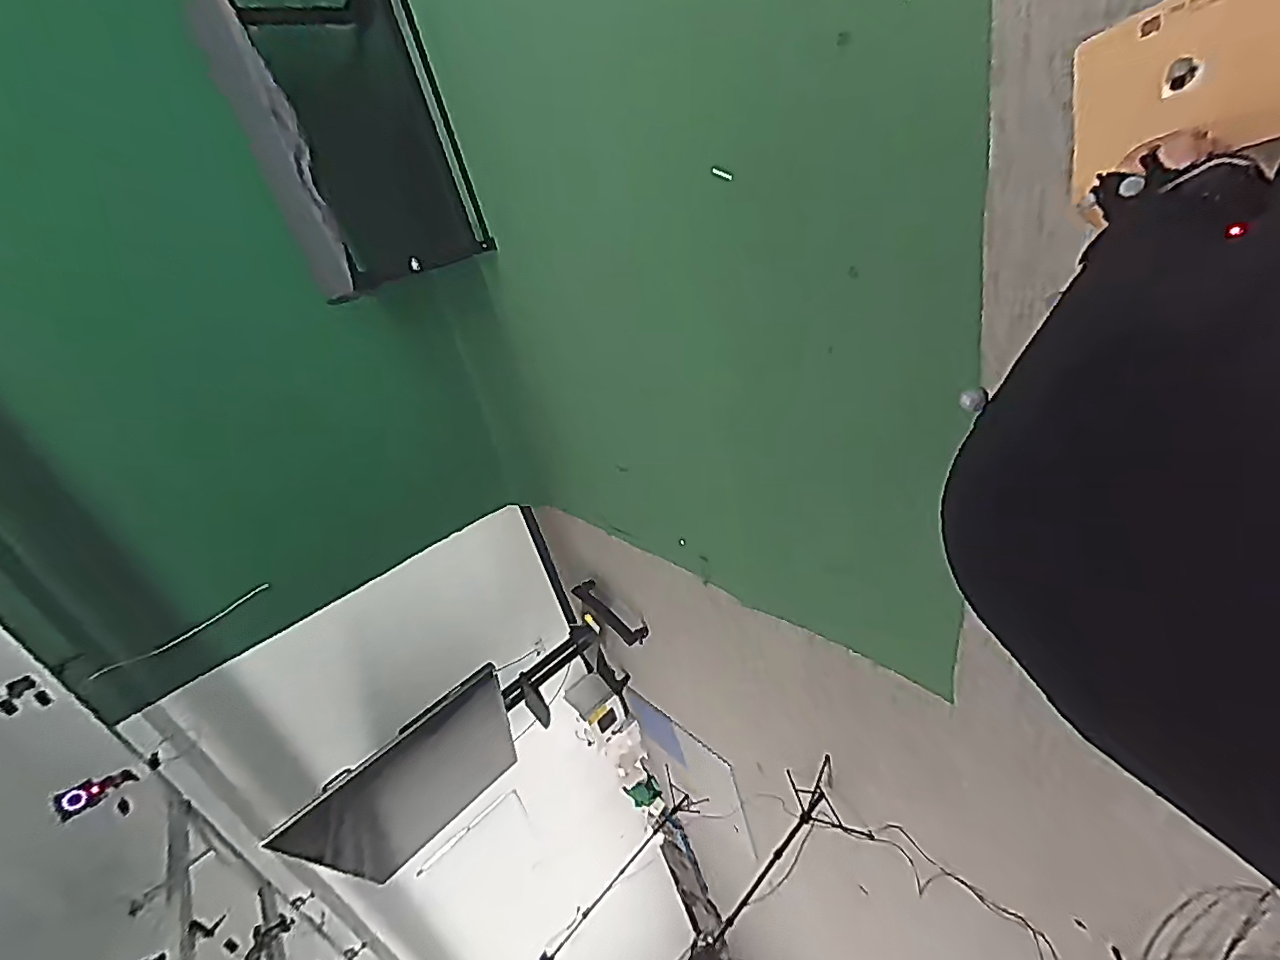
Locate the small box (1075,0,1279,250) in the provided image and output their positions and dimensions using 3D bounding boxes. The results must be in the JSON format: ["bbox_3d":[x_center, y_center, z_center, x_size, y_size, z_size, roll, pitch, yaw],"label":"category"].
[{"bbox_3d":[0.576,-0.369,0.557,0.168,0.179,0.176,-1,90,55],"label":"small box"}]
